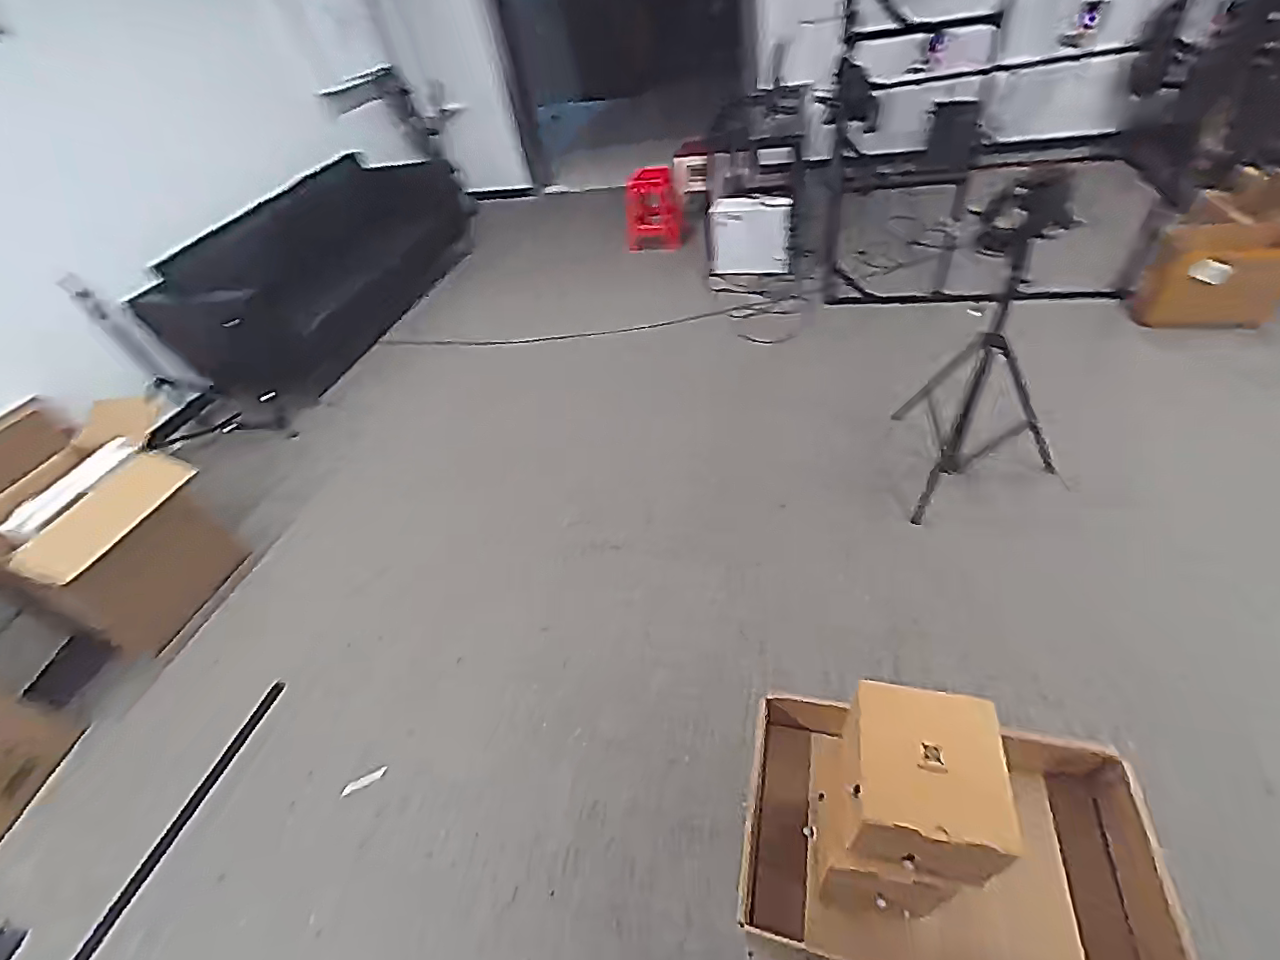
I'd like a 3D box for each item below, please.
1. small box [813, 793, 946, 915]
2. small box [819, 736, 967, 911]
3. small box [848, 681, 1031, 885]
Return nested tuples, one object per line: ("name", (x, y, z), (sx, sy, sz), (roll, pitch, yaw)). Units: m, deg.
("small box", (0.402, 0.633, 0.940), (0.179, 0.176, 0.168), (0, 45, 12))
("small box", (0.368, 0.522, 0.825), (0.168, 0.176, 0.179), (2, 46, 13))
("small box", (0.374, 0.398, 0.715), (0.168, 0.176, 0.179), (4, 46, 15))
